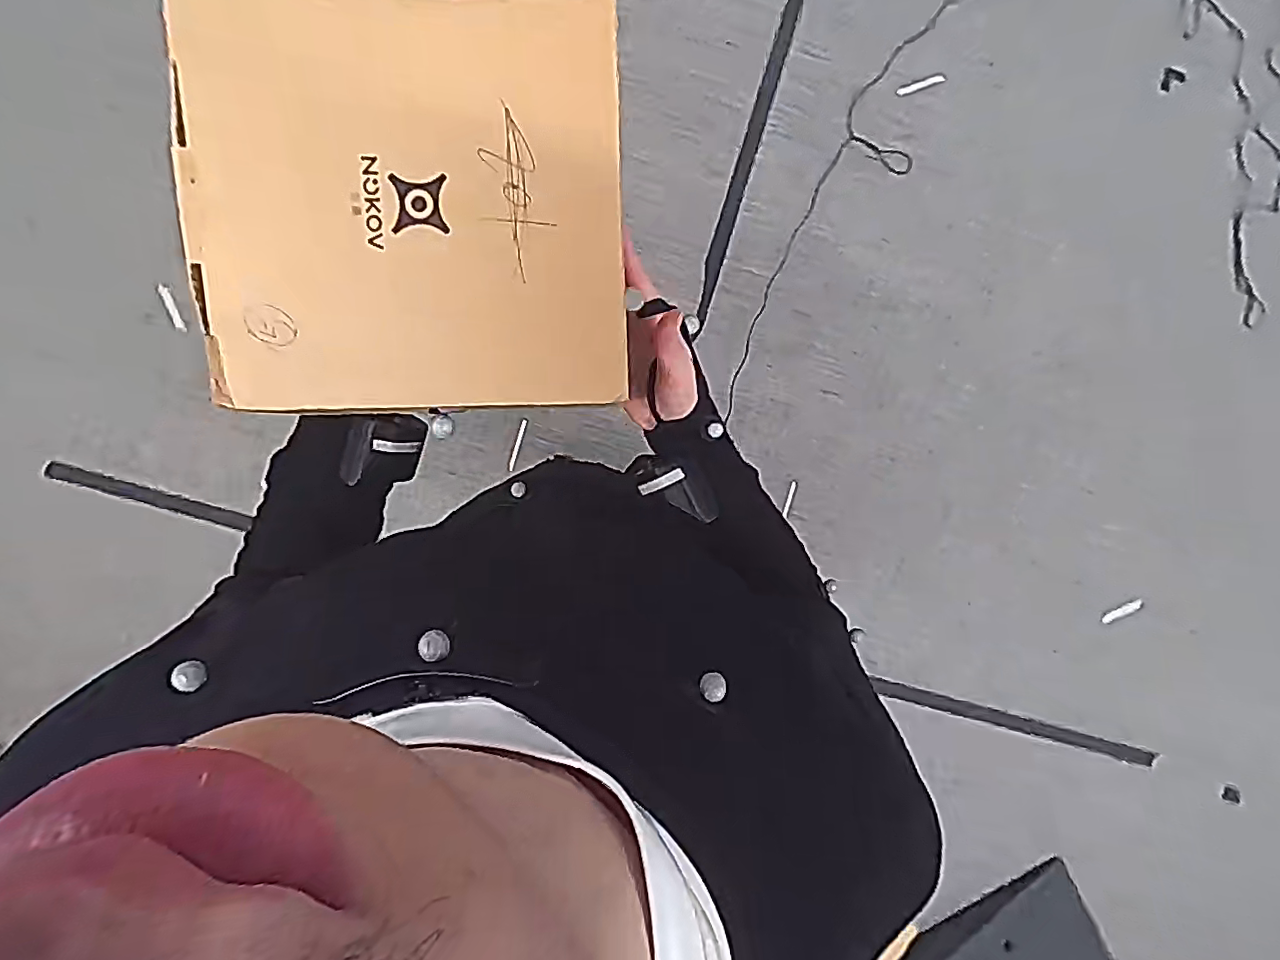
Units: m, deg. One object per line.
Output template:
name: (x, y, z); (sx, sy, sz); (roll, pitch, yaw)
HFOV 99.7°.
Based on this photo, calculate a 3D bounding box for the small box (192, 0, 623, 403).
small box: (-0.100, -0.129, 0.313); (0.179, 0.176, 0.168); (-2, 98, -5)
